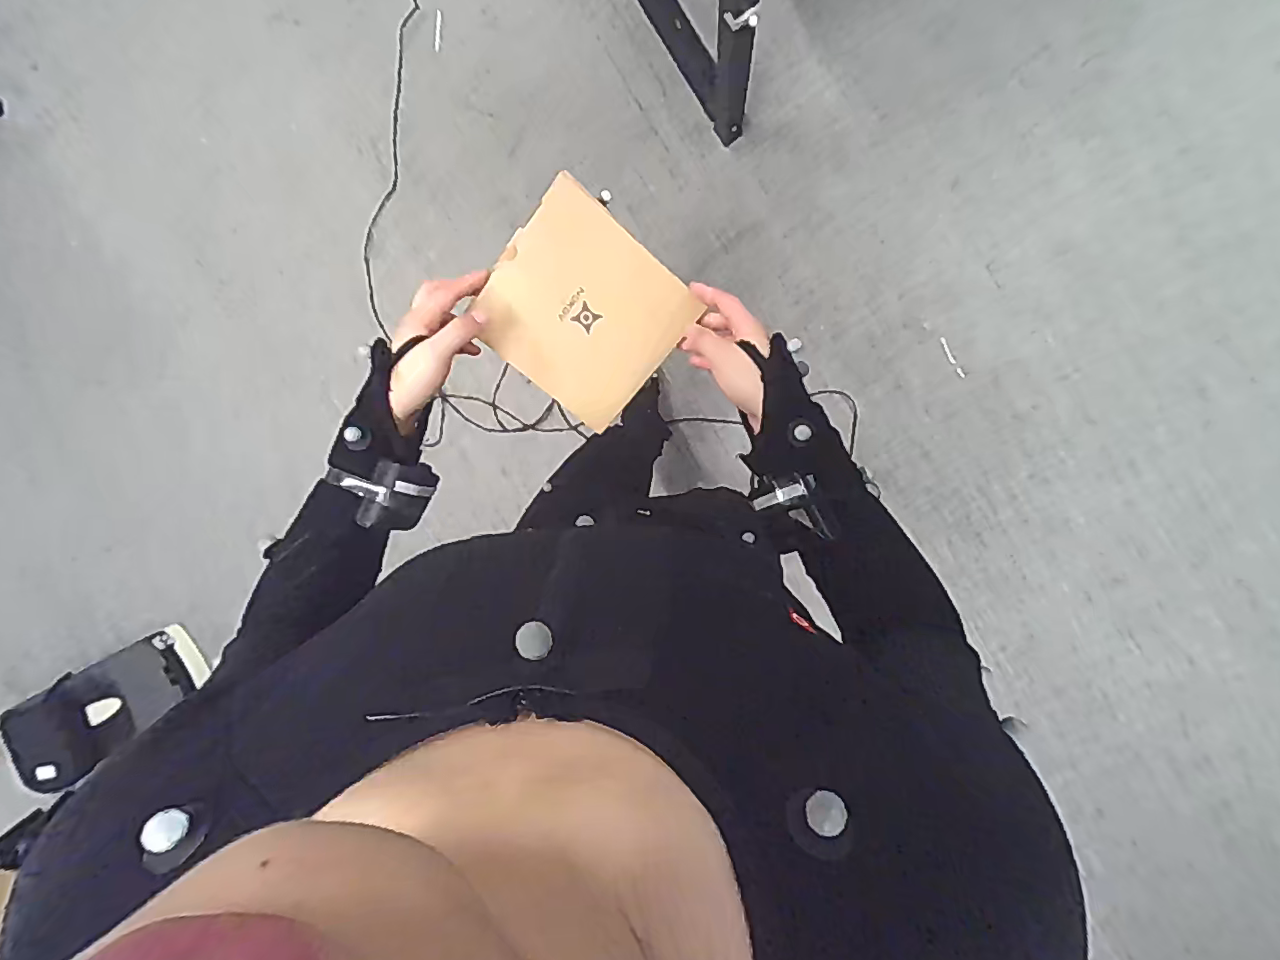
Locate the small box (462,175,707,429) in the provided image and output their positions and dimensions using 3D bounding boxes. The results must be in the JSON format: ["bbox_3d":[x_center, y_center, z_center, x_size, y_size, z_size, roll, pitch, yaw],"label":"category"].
[{"bbox_3d":[-0.052,-0.188,0.582,0.179,0.176,0.168,38,107,-14],"label":"small box"}]
